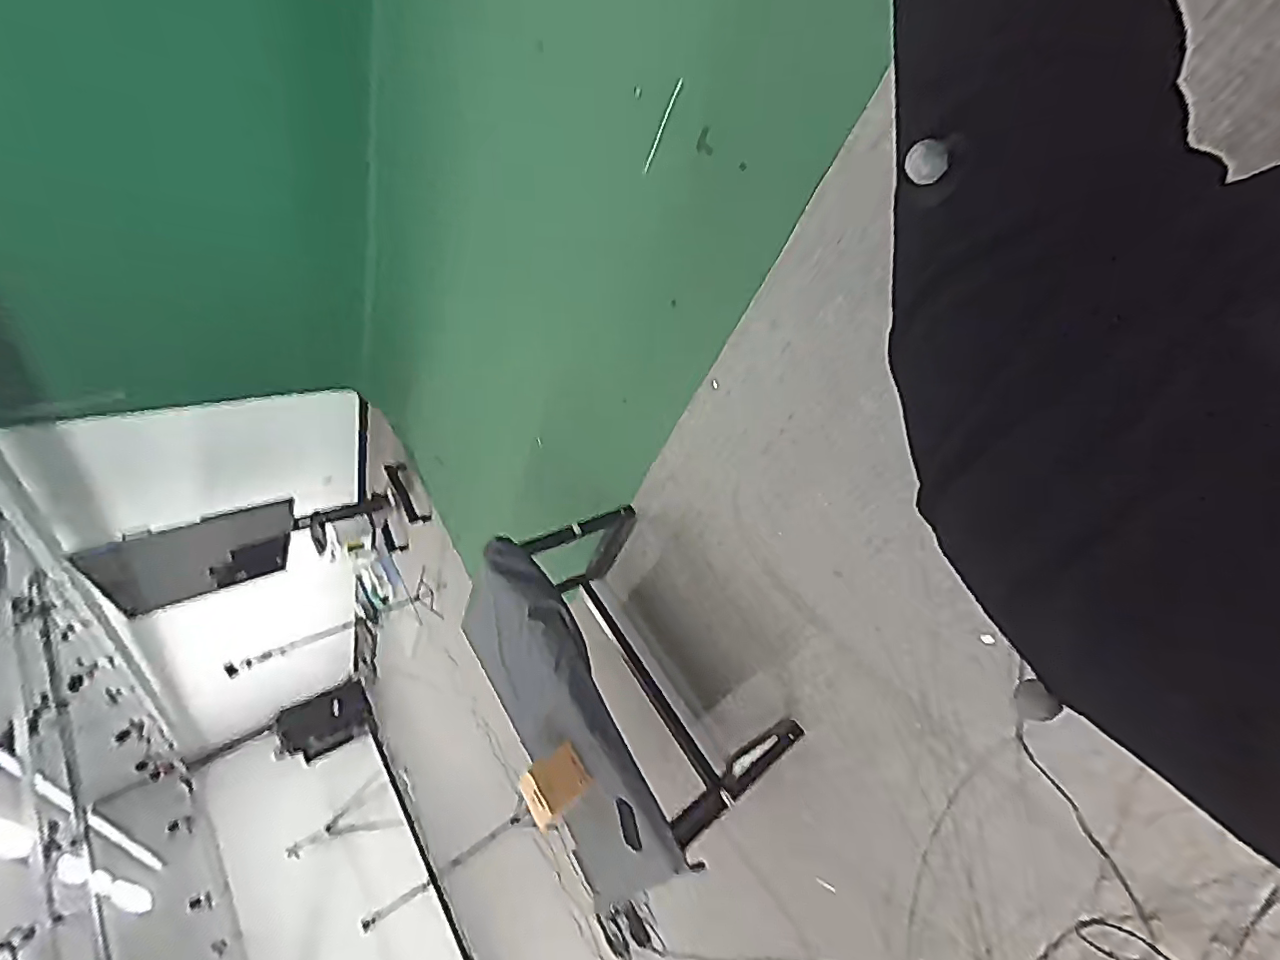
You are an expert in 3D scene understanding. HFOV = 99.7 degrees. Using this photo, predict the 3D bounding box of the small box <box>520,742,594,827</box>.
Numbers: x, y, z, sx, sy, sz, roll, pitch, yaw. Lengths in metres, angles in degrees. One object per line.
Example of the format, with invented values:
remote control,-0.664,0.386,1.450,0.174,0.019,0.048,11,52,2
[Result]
small box,-0.277,1.022,1.824,0.168,0.176,0.179,50,137,25
